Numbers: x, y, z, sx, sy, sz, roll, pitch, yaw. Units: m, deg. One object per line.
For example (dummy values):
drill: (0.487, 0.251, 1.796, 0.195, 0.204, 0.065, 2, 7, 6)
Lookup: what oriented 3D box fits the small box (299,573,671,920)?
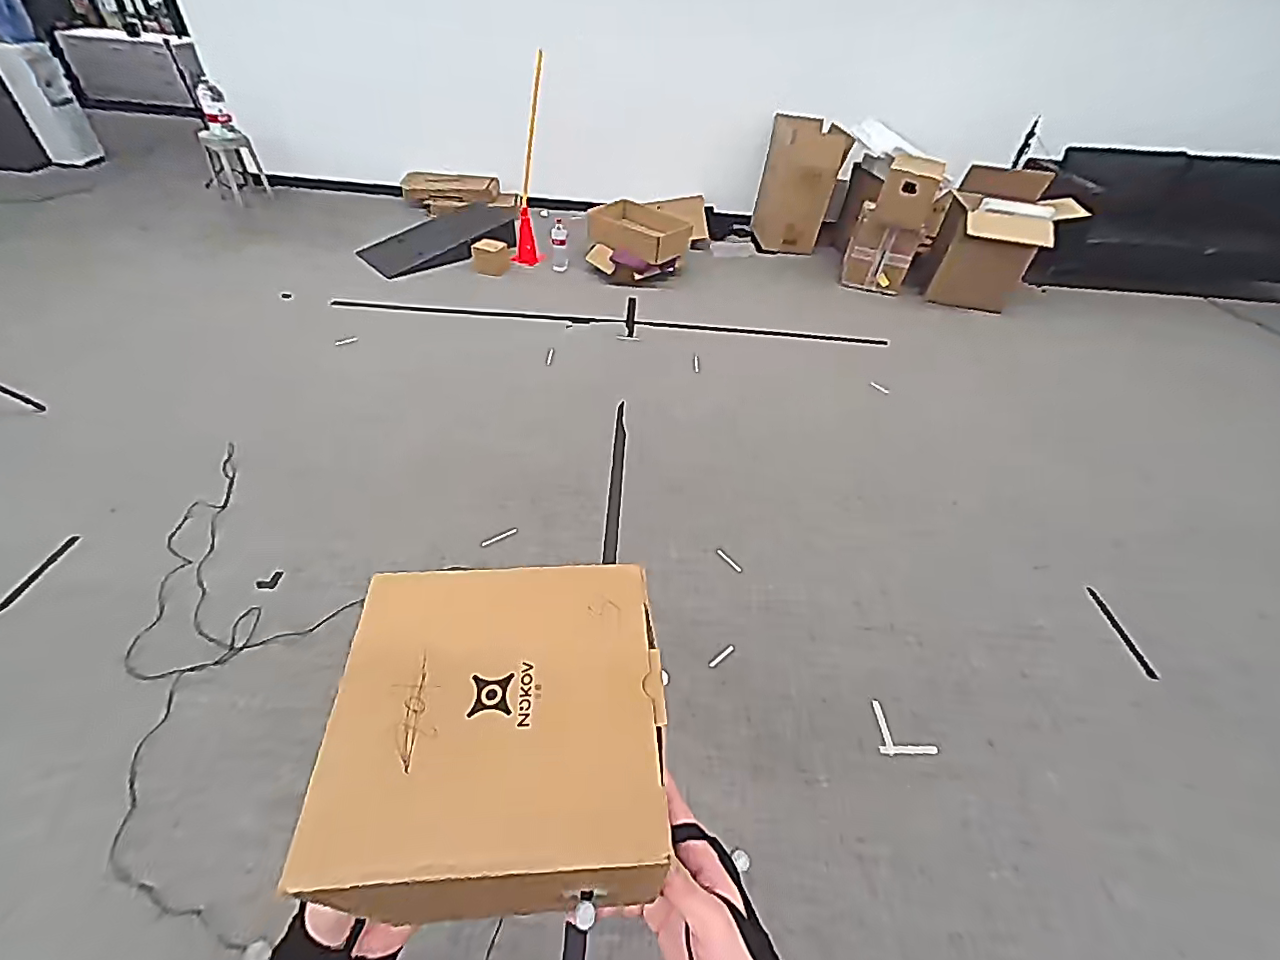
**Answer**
small box: (-0.079, 0.180, 0.366, 0.179, 0.176, 0.168, -2, 46, -4)
